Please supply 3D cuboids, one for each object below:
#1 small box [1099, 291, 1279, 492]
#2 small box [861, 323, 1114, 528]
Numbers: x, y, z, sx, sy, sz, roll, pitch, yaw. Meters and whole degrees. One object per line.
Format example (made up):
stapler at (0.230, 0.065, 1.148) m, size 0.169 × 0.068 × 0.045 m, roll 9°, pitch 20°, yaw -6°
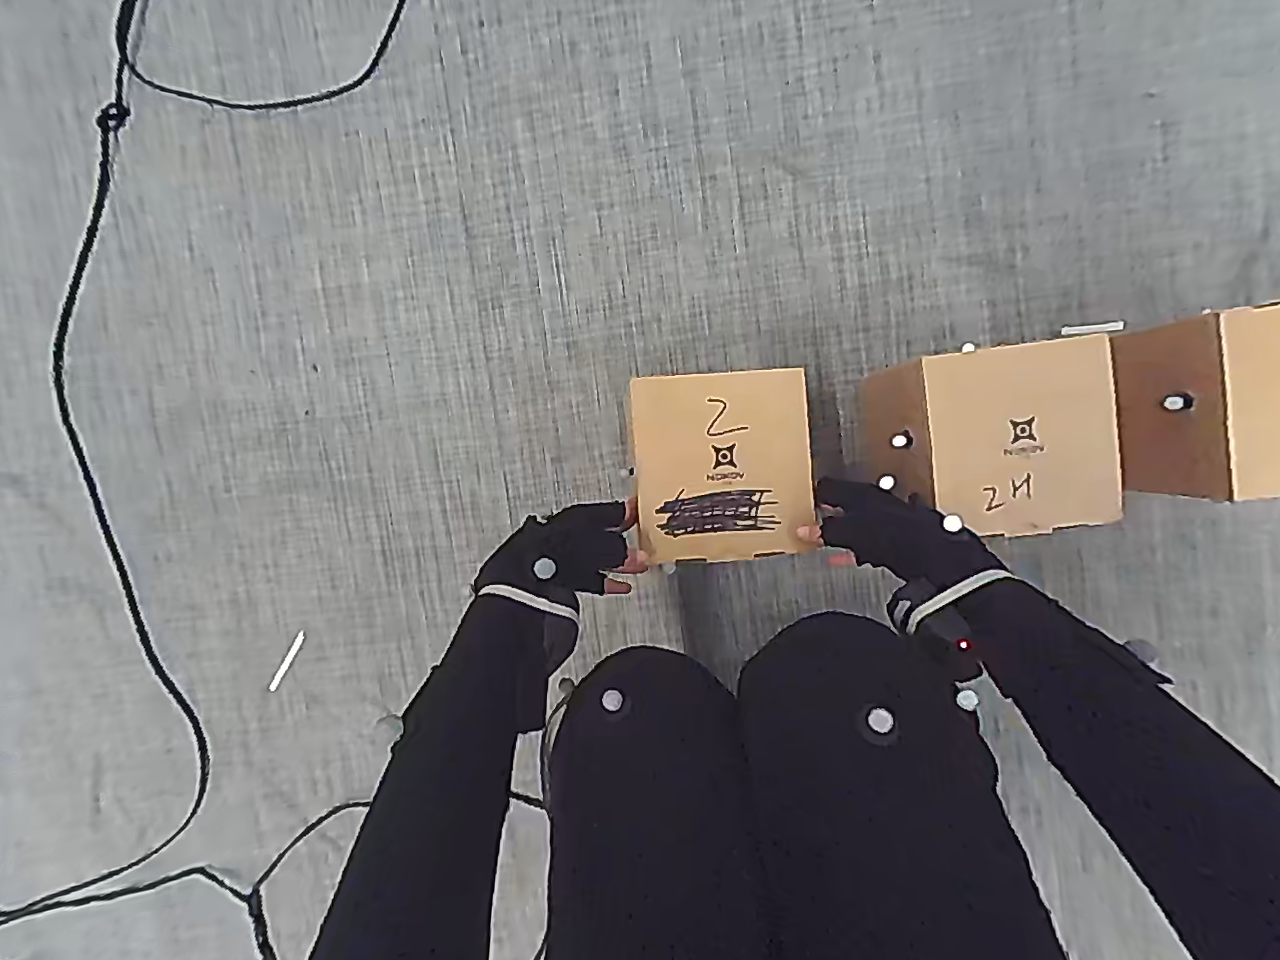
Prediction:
small box at (0.603, -0.090, 0.565) m, size 0.168 × 0.176 × 0.179 m, roll -8°, pitch 93°, yaw 4°
small box at (0.351, -0.053, 0.579) m, size 0.168 × 0.176 × 0.179 m, roll -7°, pitch 93°, yaw 5°
